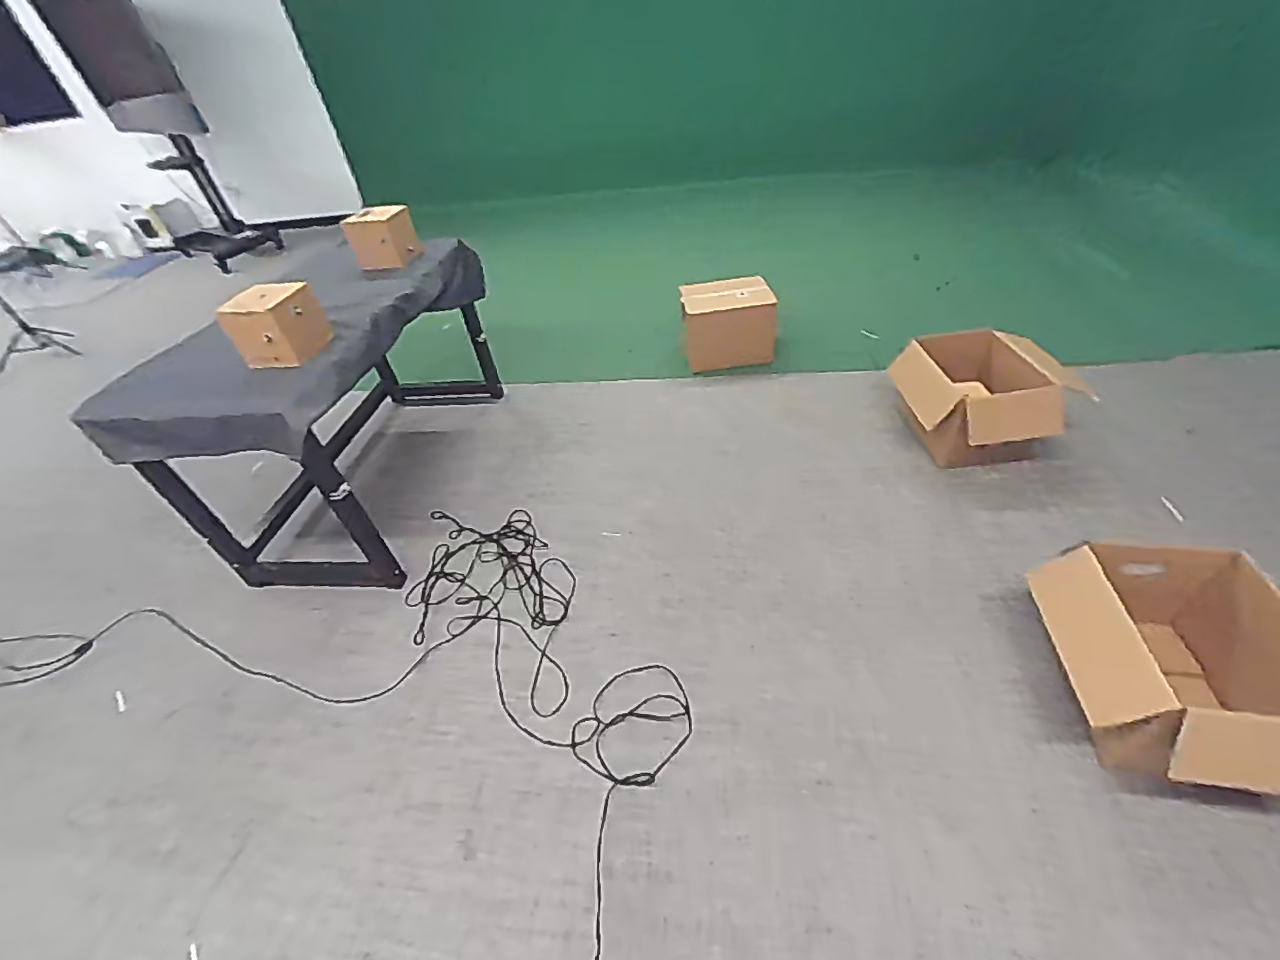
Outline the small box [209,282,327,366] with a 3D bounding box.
[{"bbox_3d":[-0.999,-0.421,1.473,0.168,0.176,0.179,1,41,9],"label":"small box"}]
